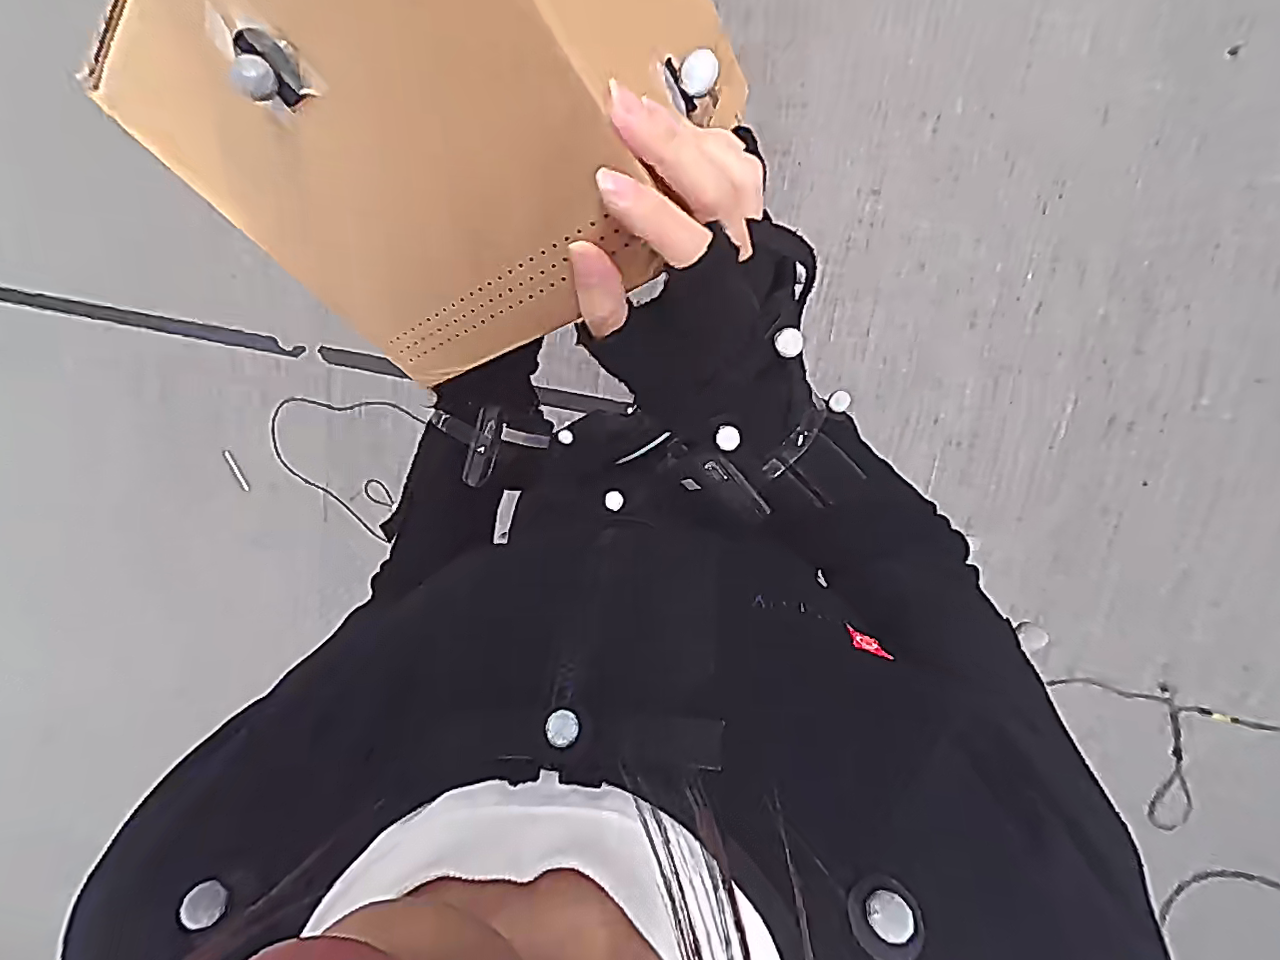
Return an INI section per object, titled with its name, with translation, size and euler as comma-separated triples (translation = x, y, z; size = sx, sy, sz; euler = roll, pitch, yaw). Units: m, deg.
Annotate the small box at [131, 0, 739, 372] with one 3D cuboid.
[small box]
translation = -0.074, -0.179, 0.263
size = 0.179, 0.168, 0.176
euler = -13, 137, 34
